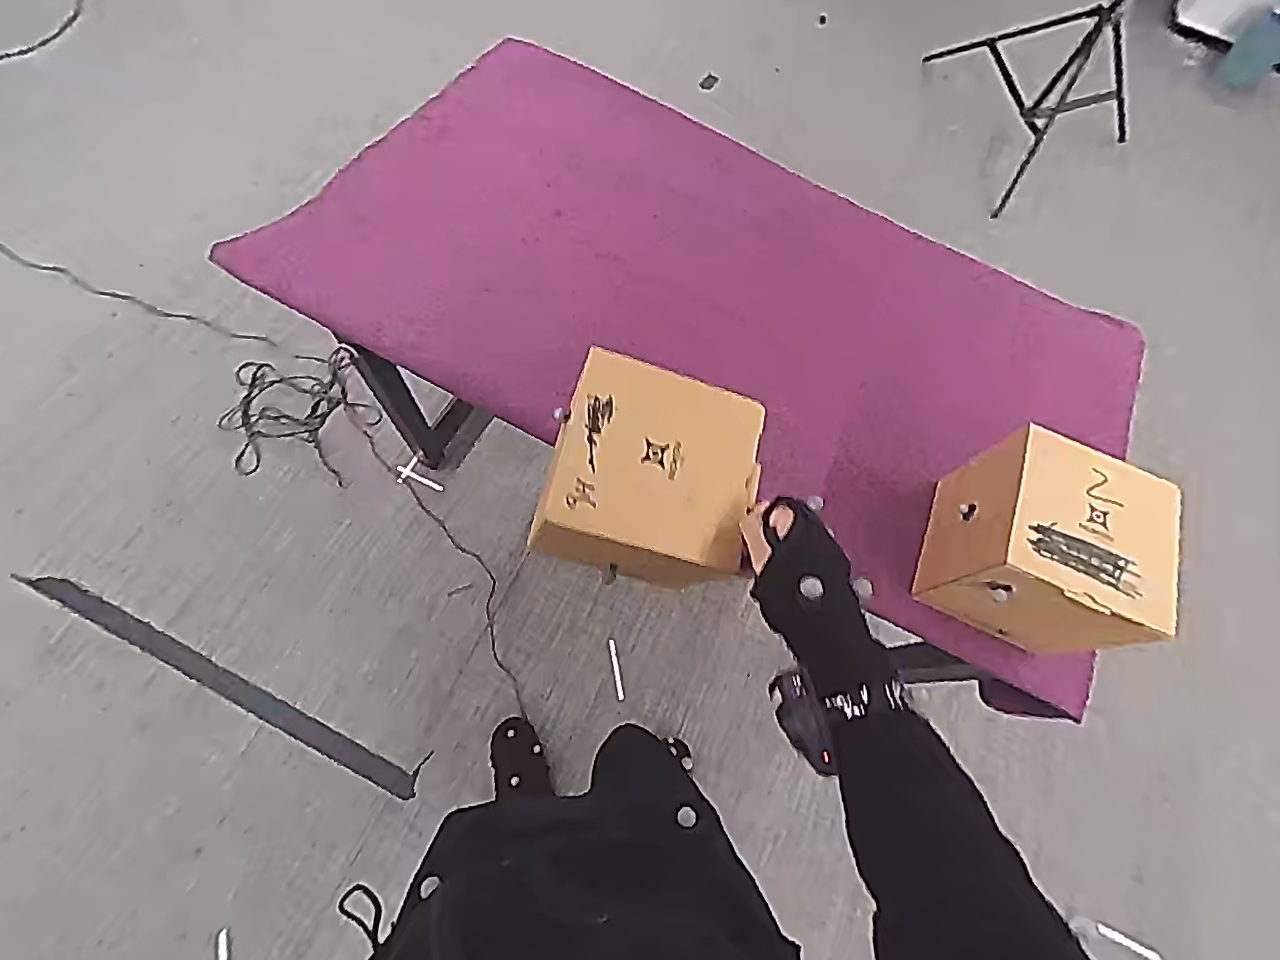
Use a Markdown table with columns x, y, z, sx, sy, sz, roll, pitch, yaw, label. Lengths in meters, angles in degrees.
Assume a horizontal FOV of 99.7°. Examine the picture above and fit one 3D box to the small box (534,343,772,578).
| x | y | z | sx | sy | sz | roll | pitch | yaw | label |
| --- | --- | --- | --- | --- | --- | --- | --- | --- | --- |
| 0.005 | -0.003 | 0.544 | 0.179 | 0.176 | 0.168 | 18 | 71 | -11 | small box |
